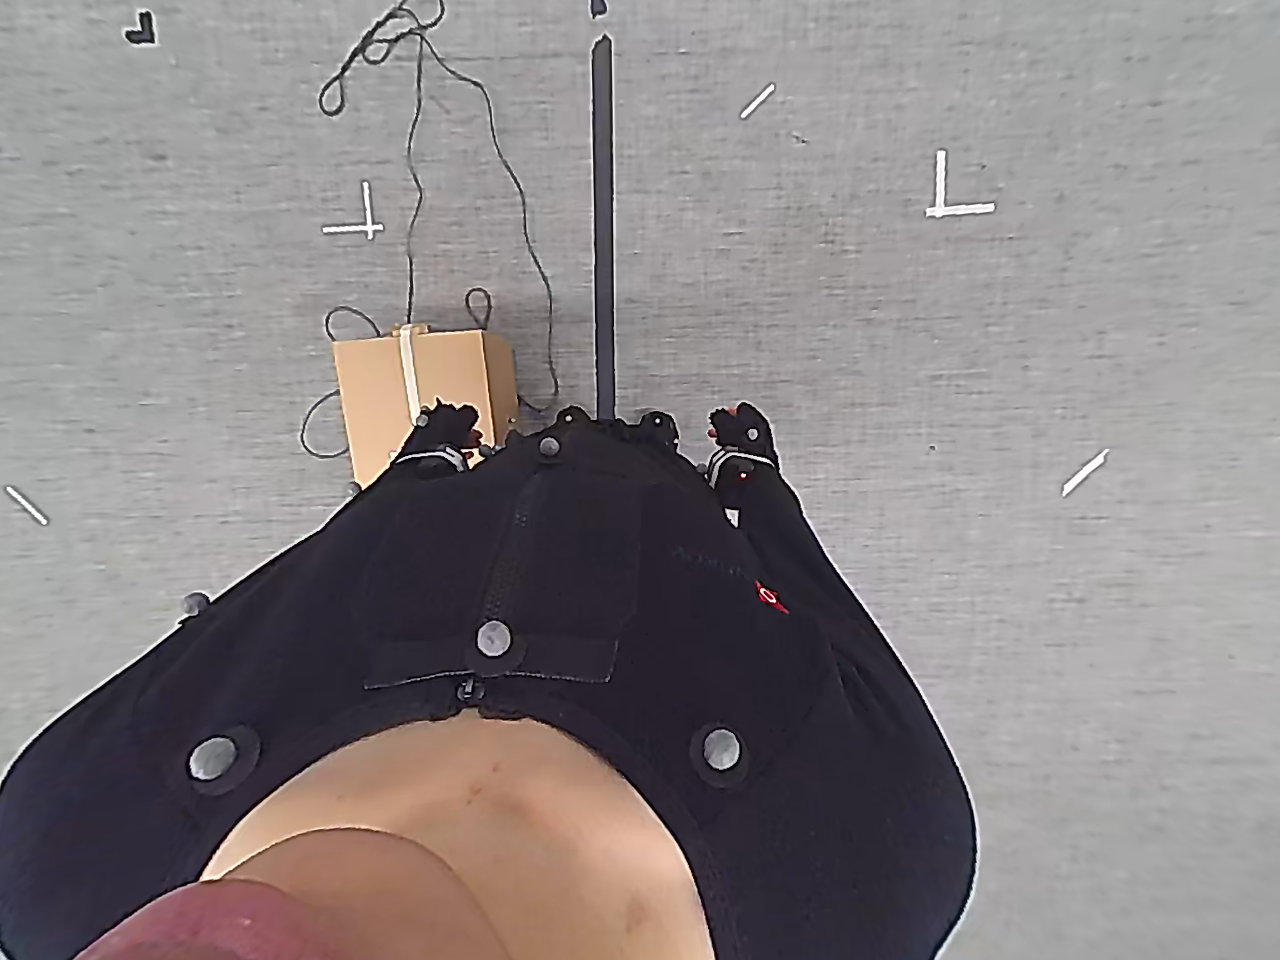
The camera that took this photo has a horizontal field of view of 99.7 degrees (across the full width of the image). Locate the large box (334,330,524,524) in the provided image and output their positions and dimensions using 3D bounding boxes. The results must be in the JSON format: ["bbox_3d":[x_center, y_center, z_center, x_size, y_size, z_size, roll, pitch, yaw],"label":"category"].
[{"bbox_3d":[-0.482,-0.138,1.321,0.320,0.320,0.408,-5,101,-1],"label":"large box"}]
